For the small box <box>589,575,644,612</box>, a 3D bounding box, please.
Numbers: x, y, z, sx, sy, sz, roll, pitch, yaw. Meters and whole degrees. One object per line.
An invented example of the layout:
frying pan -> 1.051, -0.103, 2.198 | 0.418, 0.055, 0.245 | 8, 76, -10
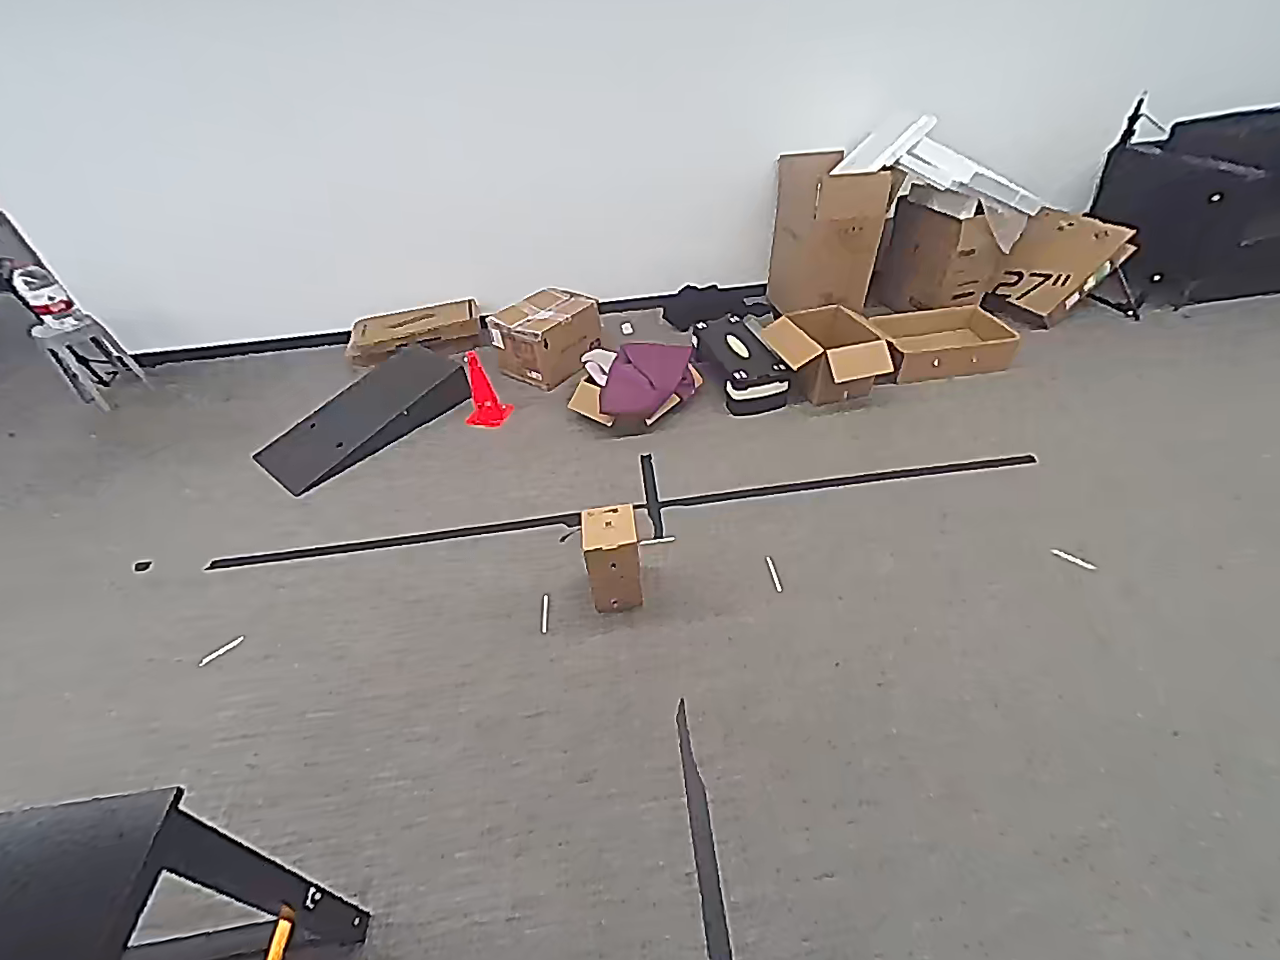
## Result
small box -> -0.083, 0.322, 1.832 | 0.168, 0.176, 0.179 | -9, 42, -2

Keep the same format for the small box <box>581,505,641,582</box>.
small box -> -0.091, 0.208, 1.712 | 0.168, 0.176, 0.179 | -8, 41, -1
